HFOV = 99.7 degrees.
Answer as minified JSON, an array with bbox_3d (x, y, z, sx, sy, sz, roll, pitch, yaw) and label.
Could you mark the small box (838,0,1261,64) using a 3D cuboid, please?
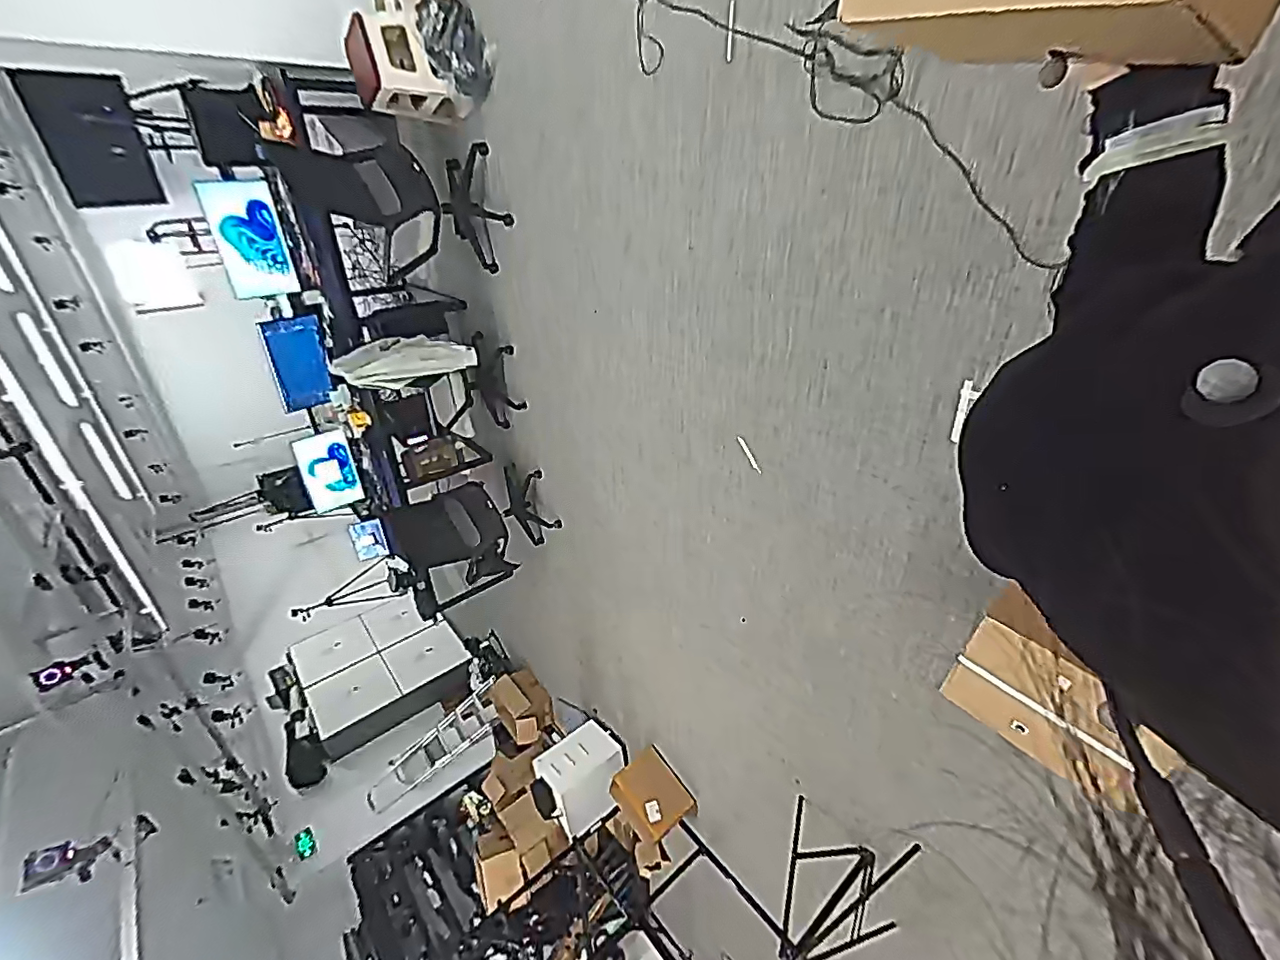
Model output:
[{"bbox_3d":[0.244,-0.332,0.279,0.179,0.176,0.168,38,134,38],"label":"small box"}]
